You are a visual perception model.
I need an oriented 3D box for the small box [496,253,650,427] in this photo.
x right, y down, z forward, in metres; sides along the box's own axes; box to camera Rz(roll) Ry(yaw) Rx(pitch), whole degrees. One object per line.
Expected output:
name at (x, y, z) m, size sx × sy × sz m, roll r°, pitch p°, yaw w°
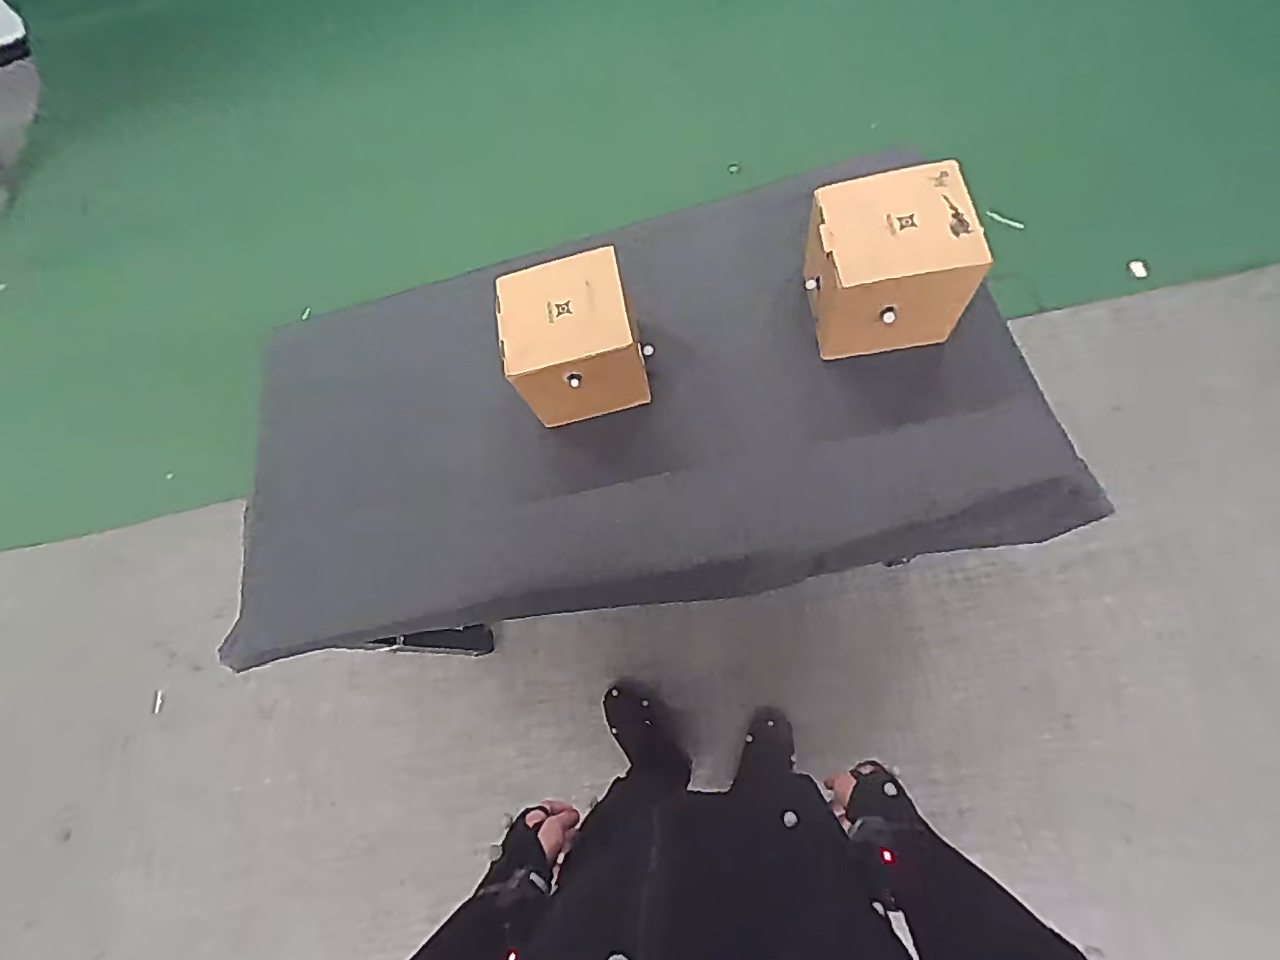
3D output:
small box at (-0.093, -0.196, 0.802) m, size 0.179 × 0.176 × 0.168 m, roll -13°, pitch 70°, yaw 5°

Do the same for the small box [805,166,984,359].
small box at (0.331, -0.286, 0.747) m, size 0.179 × 0.176 × 0.168 m, roll -8°, pitch 70°, yaw 9°
